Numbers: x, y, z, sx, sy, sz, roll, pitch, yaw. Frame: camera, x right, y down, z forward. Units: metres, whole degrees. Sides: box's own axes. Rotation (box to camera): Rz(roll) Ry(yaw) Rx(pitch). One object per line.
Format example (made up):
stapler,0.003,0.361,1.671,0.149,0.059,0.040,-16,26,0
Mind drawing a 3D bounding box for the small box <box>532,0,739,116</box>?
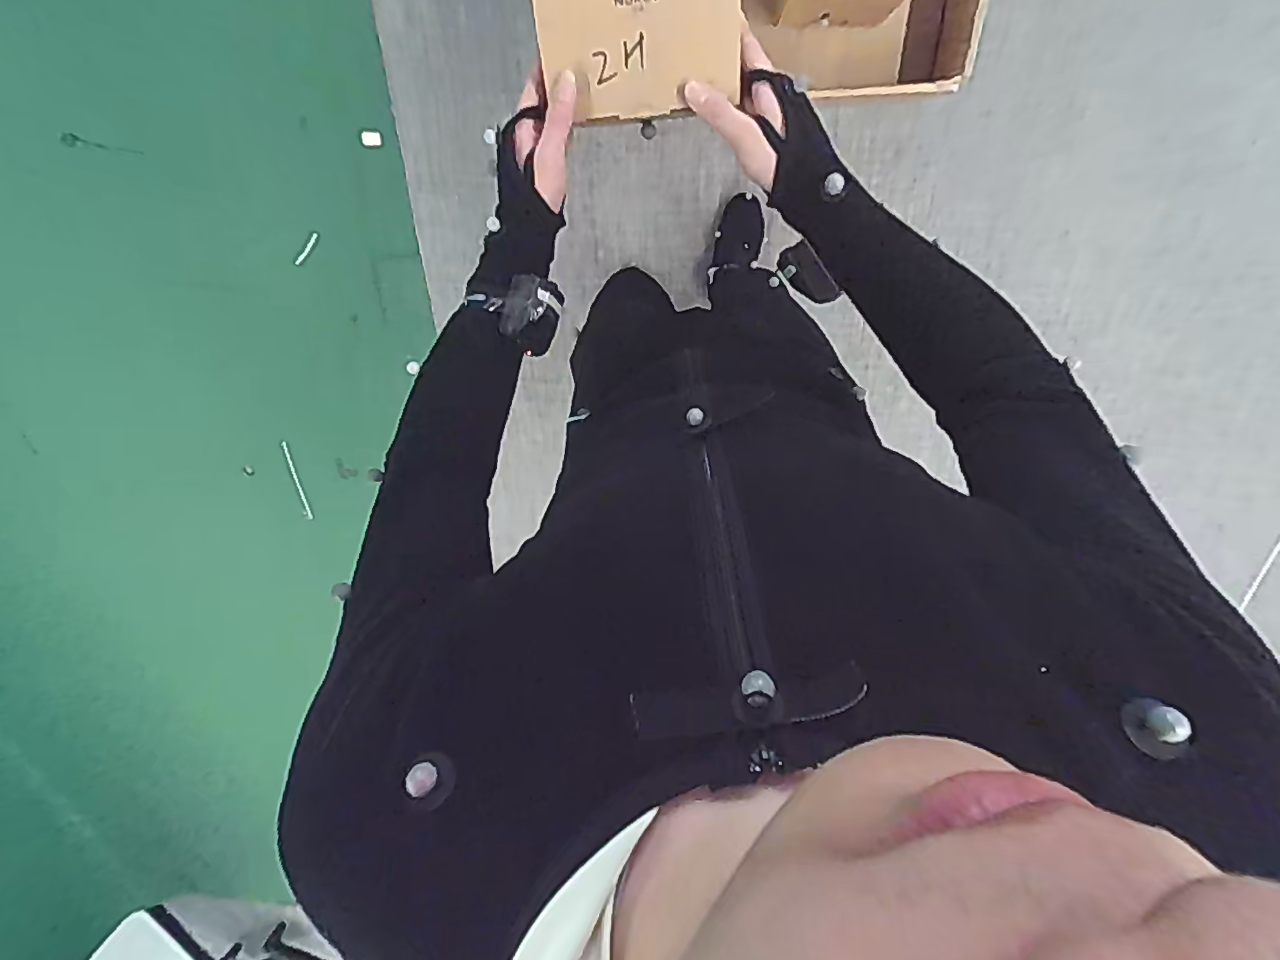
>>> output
small box,-0.003,-0.438,0.480,0.168,0.176,0.179,-2,122,5
